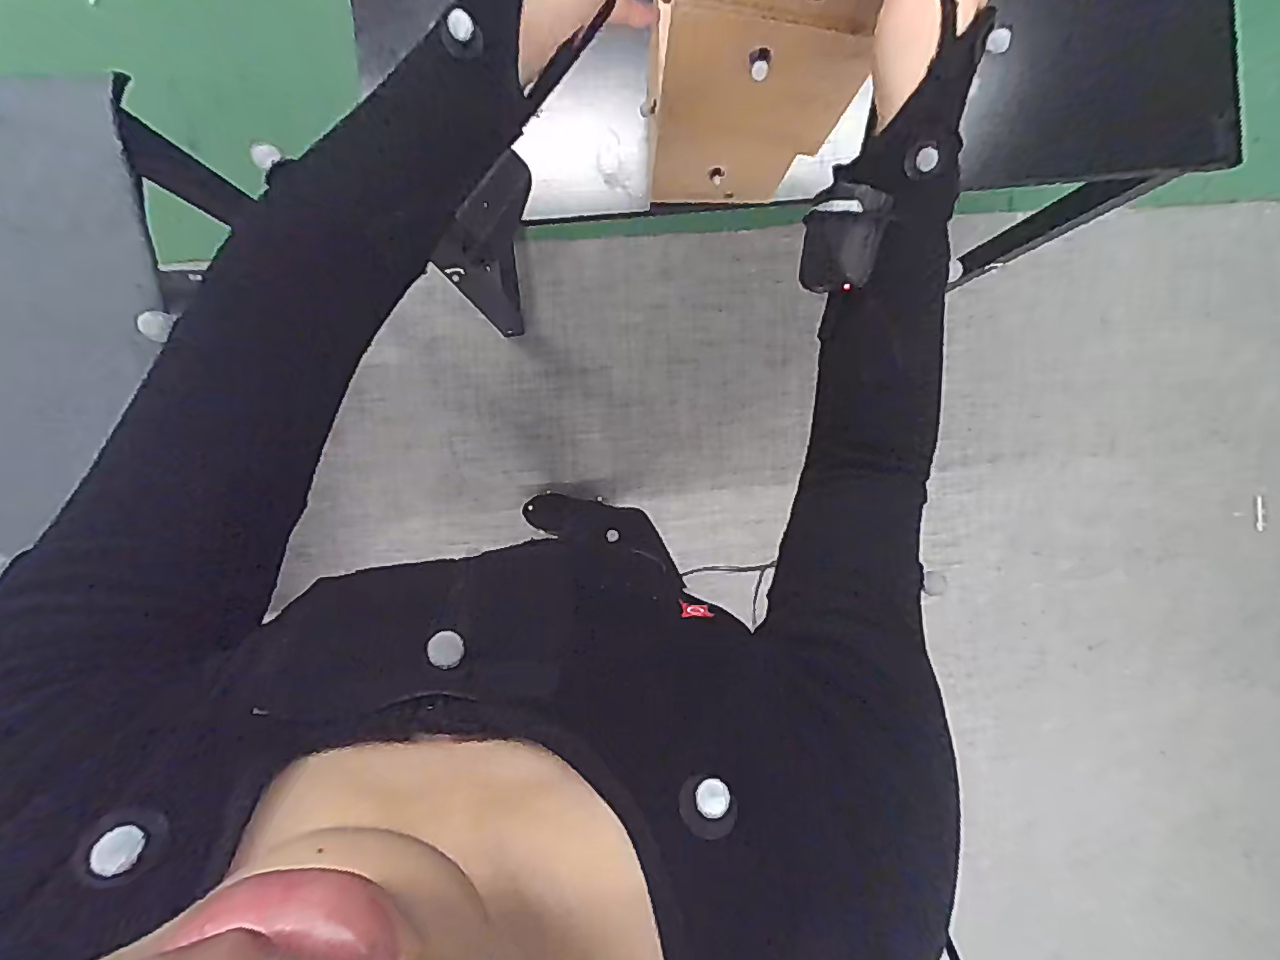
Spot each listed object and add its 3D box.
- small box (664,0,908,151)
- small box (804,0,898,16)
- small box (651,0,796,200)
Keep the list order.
[{"bbox_3d":[0.123,-0.430,0.487,0.179,0.176,0.168,7,93,-2],"label":"small box"},{"bbox_3d":[0.124,-0.434,0.321,0.168,0.176,0.179,8,93,-2],"label":"small box"},{"bbox_3d":[0.102,-0.458,0.648,0.168,0.176,0.179,-1,93,-3],"label":"small box"}]
